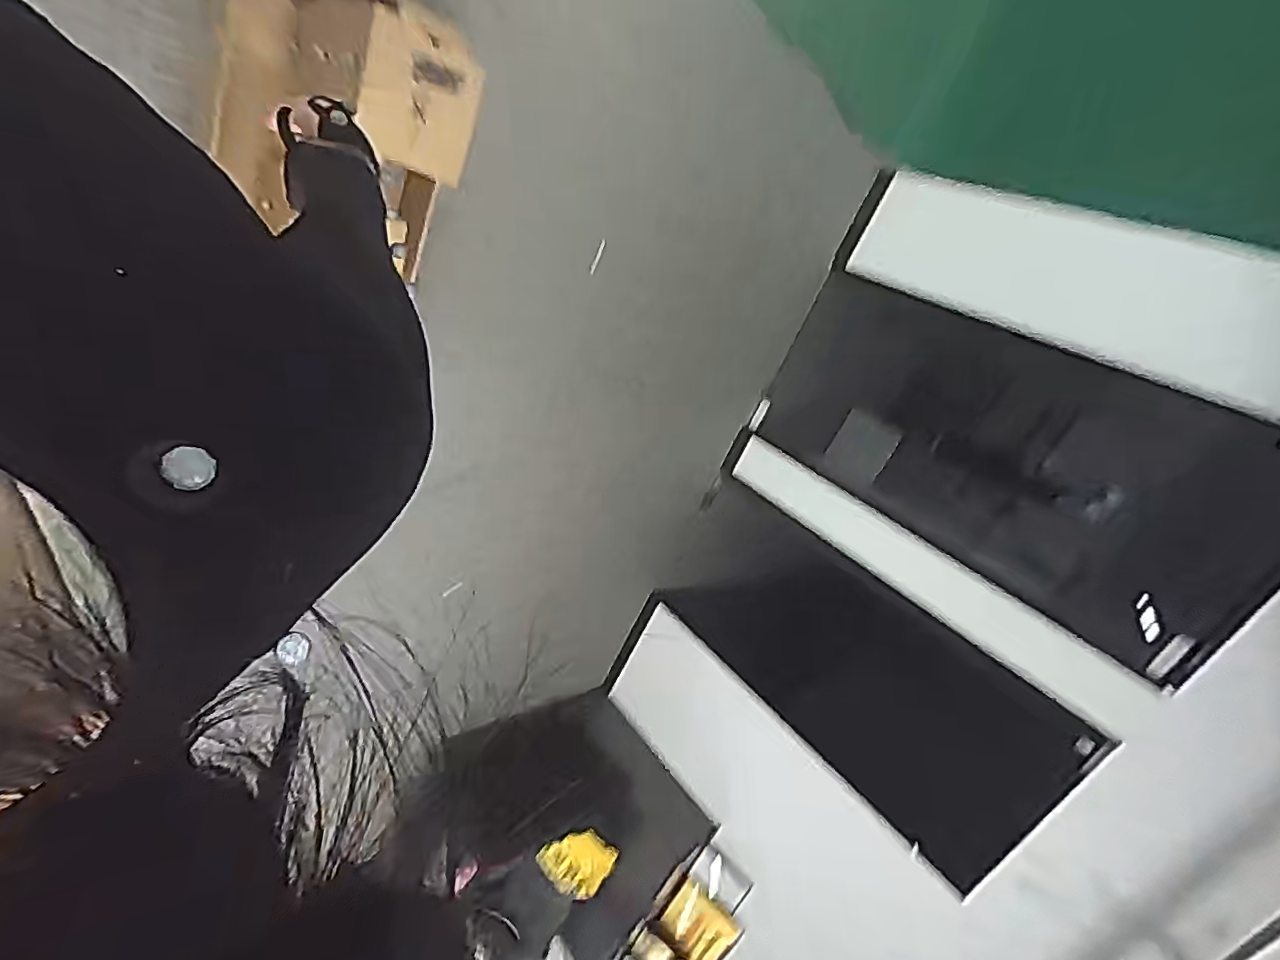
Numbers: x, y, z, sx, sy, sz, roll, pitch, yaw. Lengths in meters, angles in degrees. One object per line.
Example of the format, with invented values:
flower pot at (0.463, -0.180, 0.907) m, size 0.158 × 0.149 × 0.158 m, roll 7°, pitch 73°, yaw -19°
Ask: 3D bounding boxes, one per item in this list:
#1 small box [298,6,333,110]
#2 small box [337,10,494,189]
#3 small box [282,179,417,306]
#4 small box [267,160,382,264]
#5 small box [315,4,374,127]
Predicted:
small box at (-0.547, -0.785, 1.062) m, size 0.179 × 0.176 × 0.168 m, roll -1°, pitch 124°, yaw -47°
small box at (-0.363, -0.604, 0.862) m, size 0.168 × 0.176 × 0.179 m, roll 2°, pitch 122°, yaw -45°
small box at (-0.569, -0.463, 1.057) m, size 0.179 × 0.176 × 0.168 m, roll 0°, pitch 121°, yaw -47°
small box at (-0.674, -0.547, 1.151) m, size 0.168 × 0.176 × 0.179 m, roll 1°, pitch 120°, yaw -47°
small box at (-0.457, -0.696, 0.959) m, size 0.168 × 0.176 × 0.179 m, roll 1°, pitch 122°, yaw -45°
